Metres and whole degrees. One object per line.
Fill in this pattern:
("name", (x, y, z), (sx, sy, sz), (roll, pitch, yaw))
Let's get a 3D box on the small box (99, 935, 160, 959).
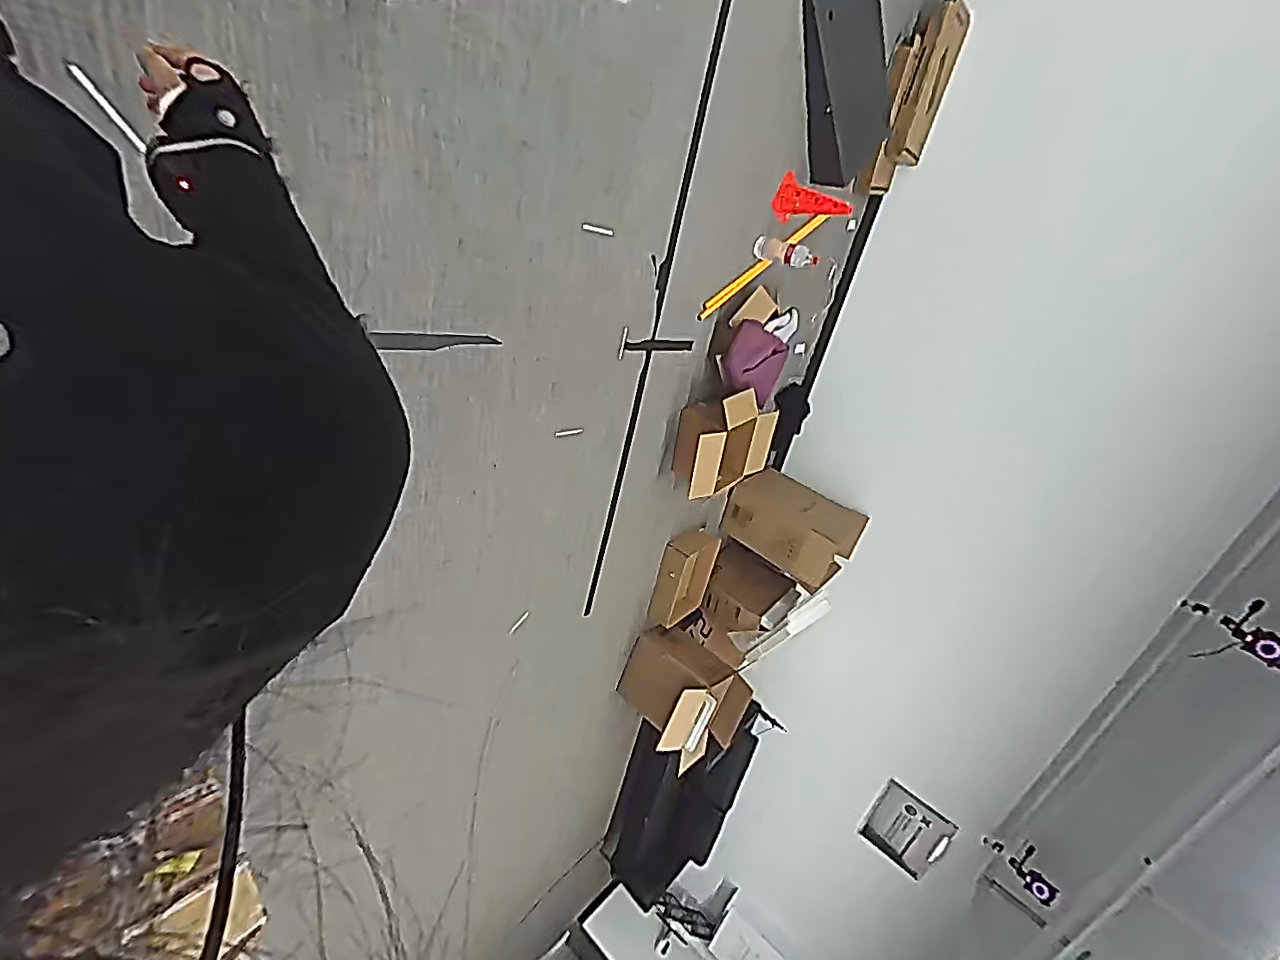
("small box", (-1.152, 1.159, 1.168), (0.179, 0.176, 0.168), (-25, 131, -42))
